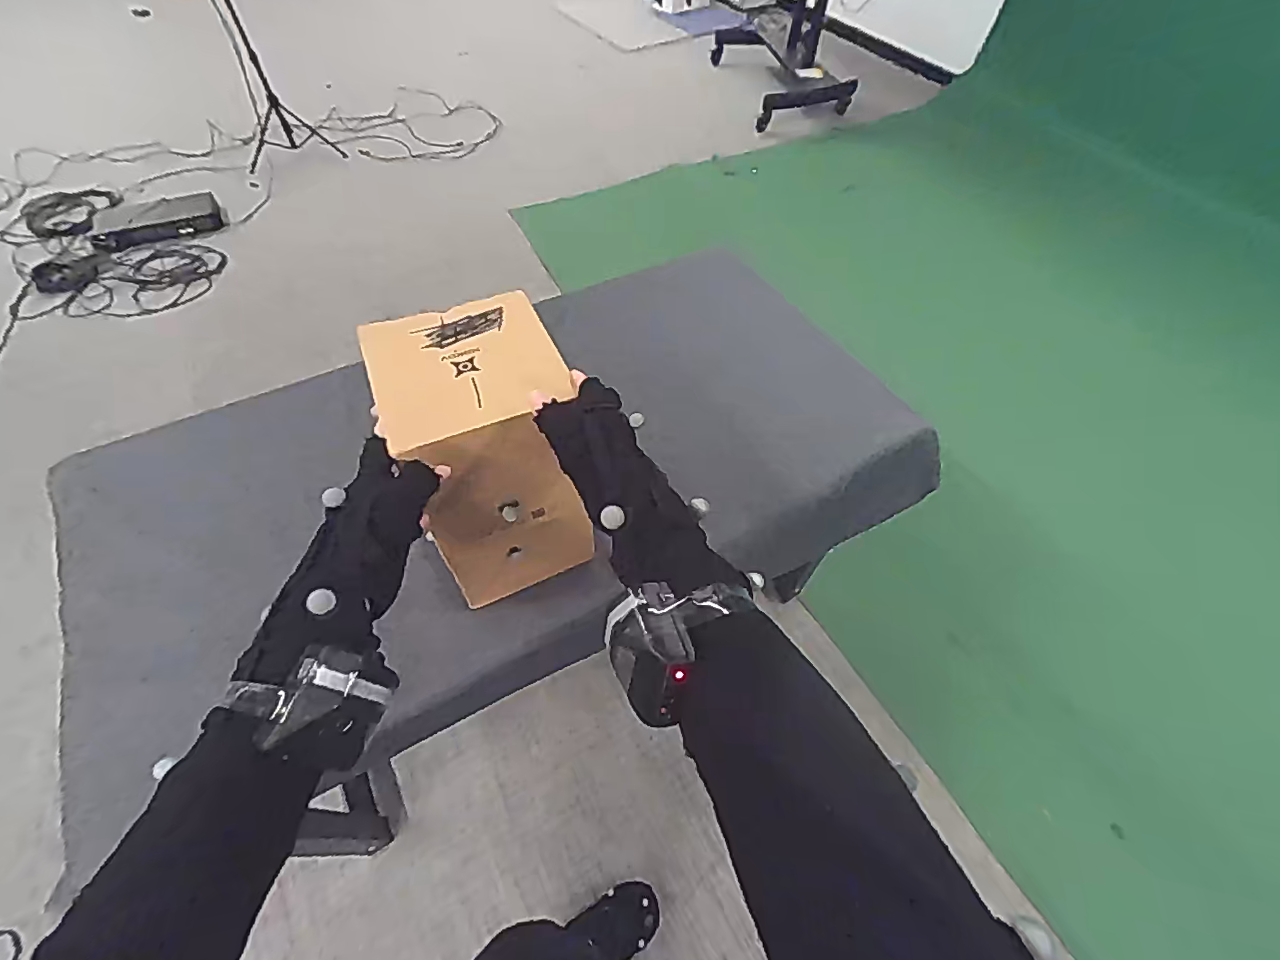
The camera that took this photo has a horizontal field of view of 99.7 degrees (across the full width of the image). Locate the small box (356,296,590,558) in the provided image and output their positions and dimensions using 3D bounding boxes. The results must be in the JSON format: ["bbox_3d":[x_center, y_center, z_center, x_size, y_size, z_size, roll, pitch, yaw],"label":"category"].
[{"bbox_3d":[-0.162,-0.054,0.552,0.168,0.176,0.179,-23,53,-17],"label":"small box"}]

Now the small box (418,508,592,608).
[{"bbox_3d":[-0.175,0.037,0.696,0.179,0.176,0.168,-23,58,-16],"label":"small box"}]
